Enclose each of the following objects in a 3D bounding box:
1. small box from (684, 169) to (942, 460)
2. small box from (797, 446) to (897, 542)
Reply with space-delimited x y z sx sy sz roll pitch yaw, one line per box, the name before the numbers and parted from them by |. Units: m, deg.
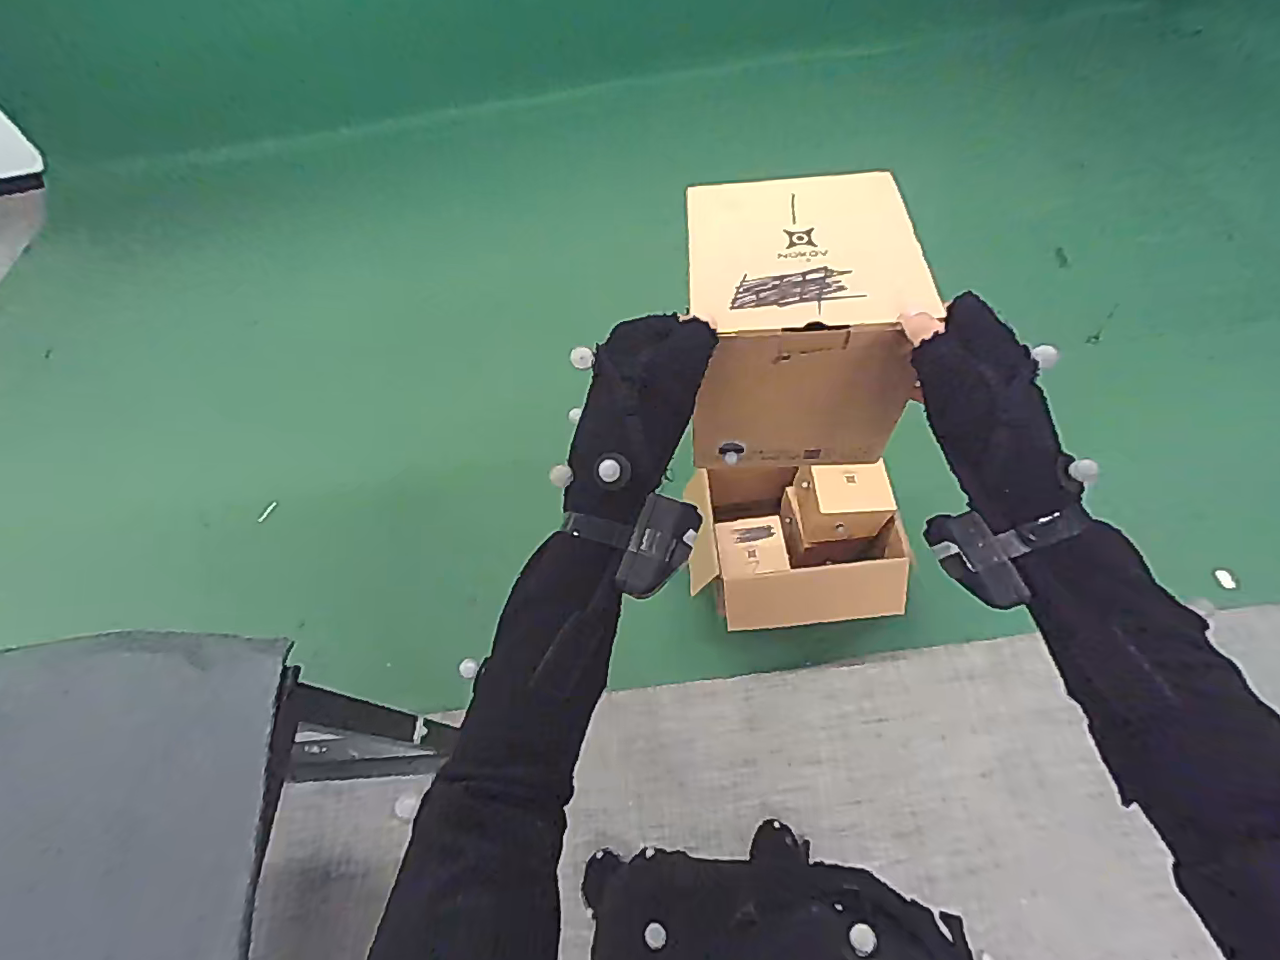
small box | 0.123 -0.128 0.460 0.168 0.176 0.179 -1 58 6
small box | 0.478 0.039 1.277 0.168 0.176 0.179 -3 59 3
